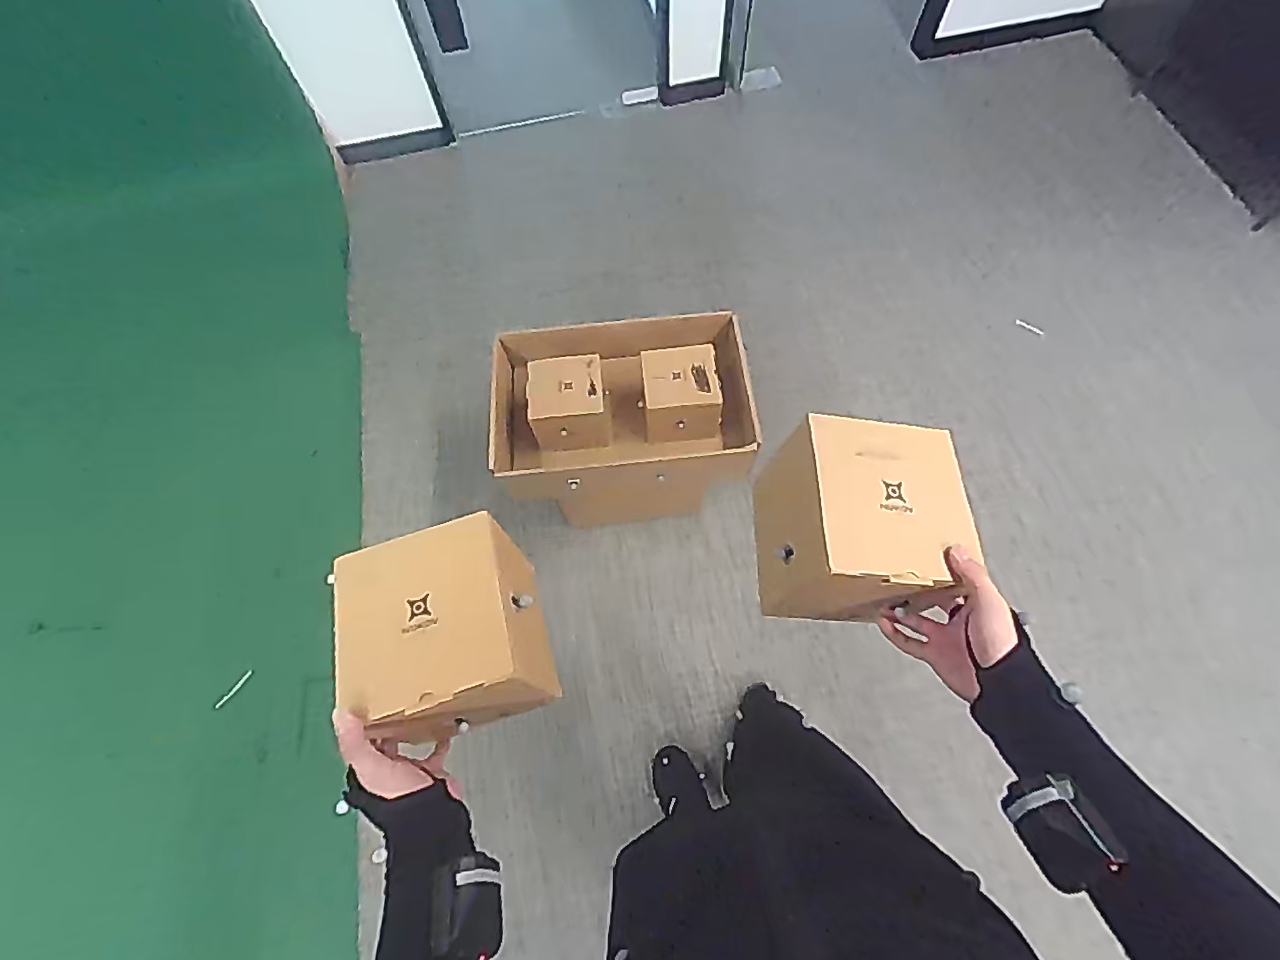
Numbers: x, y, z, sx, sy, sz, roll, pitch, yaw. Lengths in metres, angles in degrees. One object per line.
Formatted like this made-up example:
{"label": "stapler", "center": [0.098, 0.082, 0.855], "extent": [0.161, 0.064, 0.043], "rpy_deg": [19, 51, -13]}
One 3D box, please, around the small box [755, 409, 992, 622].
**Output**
{"label": "small box", "center": [0.235, 0.049, 0.596], "extent": [0.168, 0.176, 0.179], "rpy_deg": [7, 61, -8]}

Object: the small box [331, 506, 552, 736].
{"label": "small box", "center": [-0.204, 0.158, 0.583], "extent": [0.168, 0.176, 0.179], "rpy_deg": [-16, 61, -3]}

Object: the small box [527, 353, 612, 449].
{"label": "small box", "center": [-0.167, -0.185, 1.317], "extent": [0.179, 0.176, 0.168], "rpy_deg": [-5, 66, 1]}
